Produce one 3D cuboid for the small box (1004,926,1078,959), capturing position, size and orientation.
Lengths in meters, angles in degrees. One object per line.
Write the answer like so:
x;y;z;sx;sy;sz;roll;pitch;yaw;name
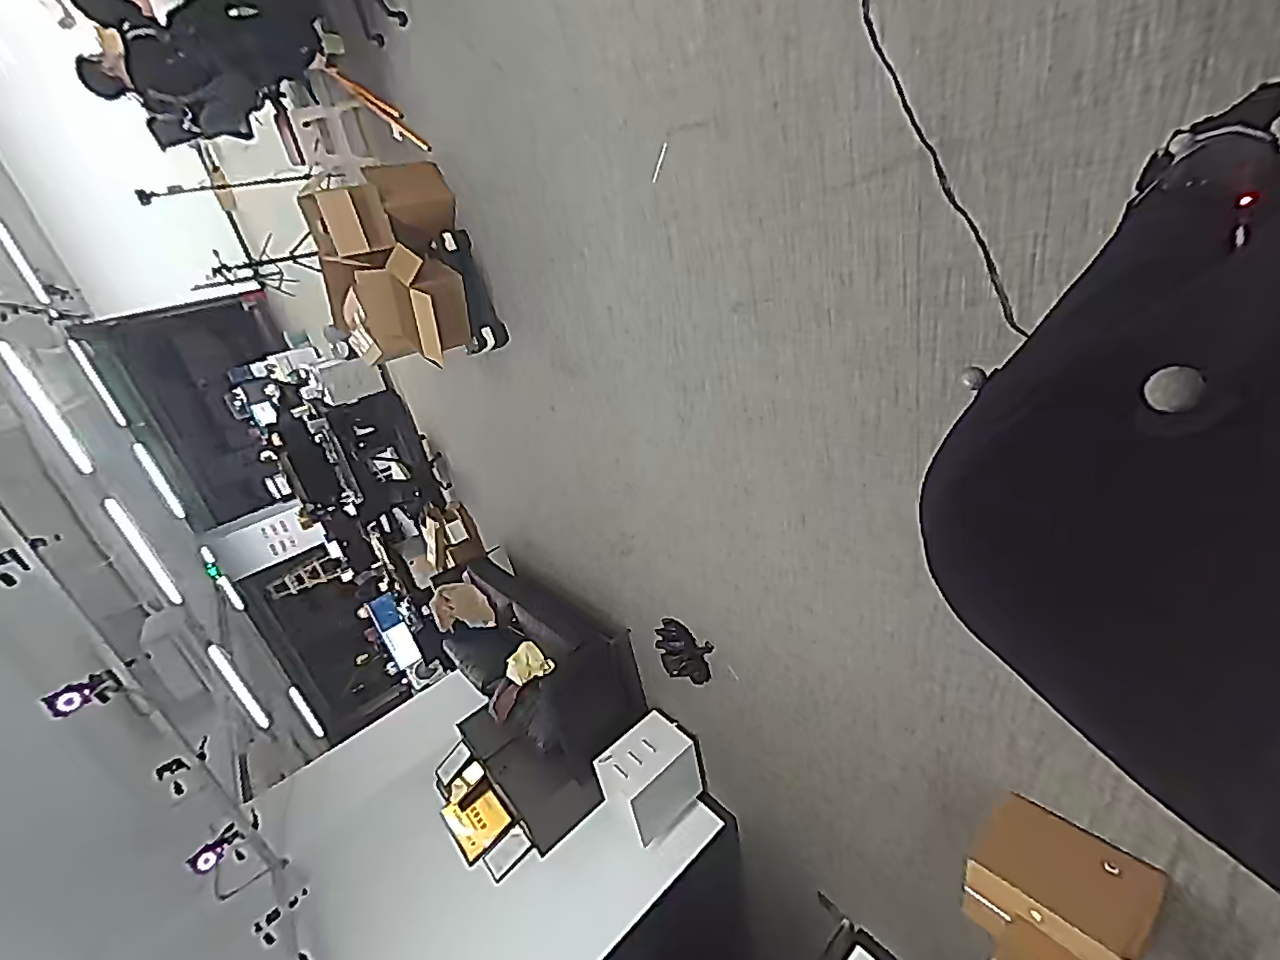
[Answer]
1.130;1.412;1.518;0.179;0.176;0.168;24;129;45;small box
